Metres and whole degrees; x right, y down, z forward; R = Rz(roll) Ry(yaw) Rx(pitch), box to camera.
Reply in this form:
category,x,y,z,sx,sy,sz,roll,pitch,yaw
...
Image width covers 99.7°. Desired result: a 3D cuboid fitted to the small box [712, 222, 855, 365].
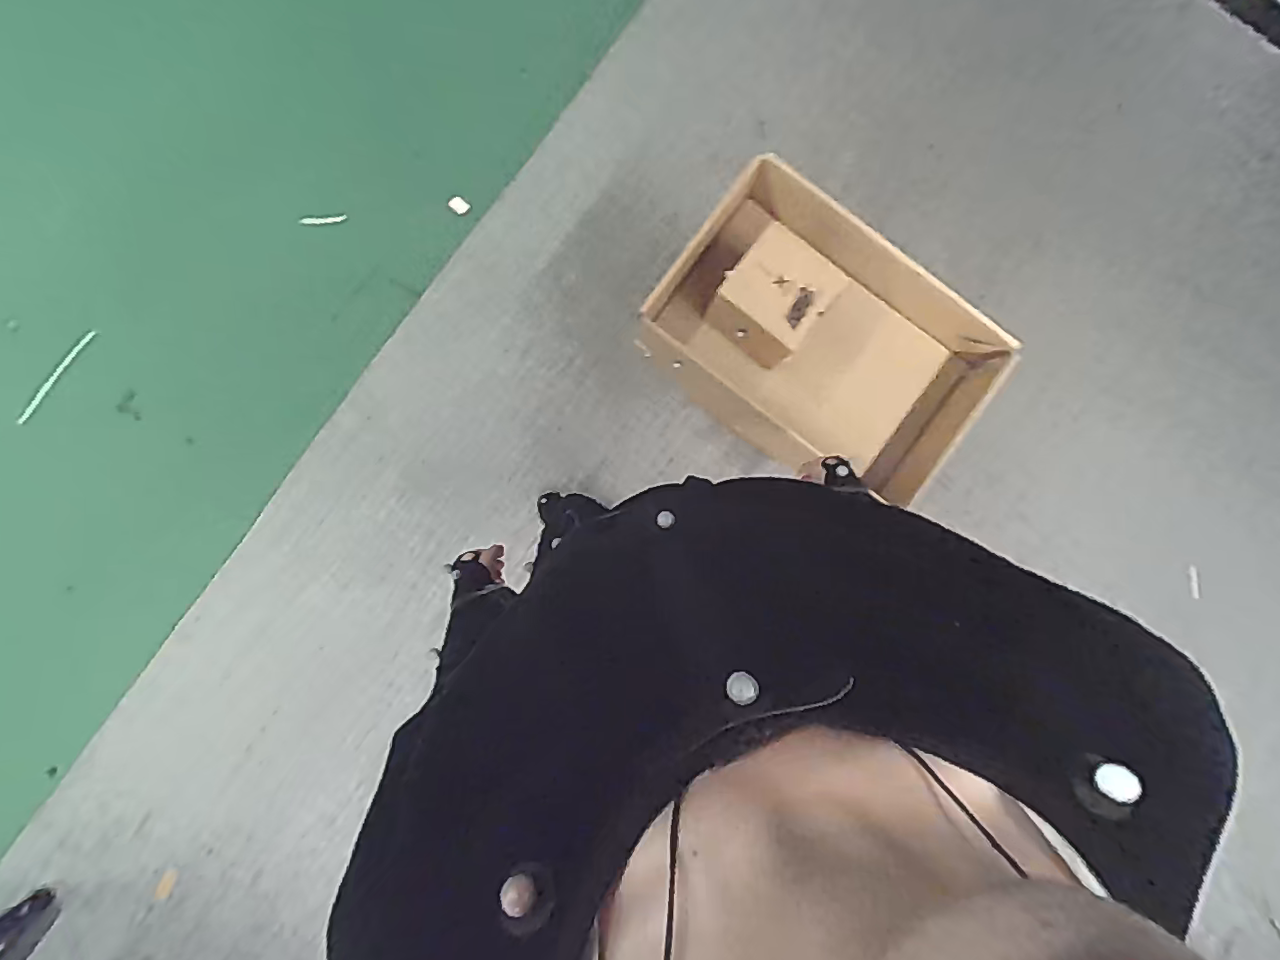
category,x,y,z,sx,sy,sz,roll,pitch,yaw
small box,0.261,-0.338,1.026,0.179,0.176,0.168,38,88,0
